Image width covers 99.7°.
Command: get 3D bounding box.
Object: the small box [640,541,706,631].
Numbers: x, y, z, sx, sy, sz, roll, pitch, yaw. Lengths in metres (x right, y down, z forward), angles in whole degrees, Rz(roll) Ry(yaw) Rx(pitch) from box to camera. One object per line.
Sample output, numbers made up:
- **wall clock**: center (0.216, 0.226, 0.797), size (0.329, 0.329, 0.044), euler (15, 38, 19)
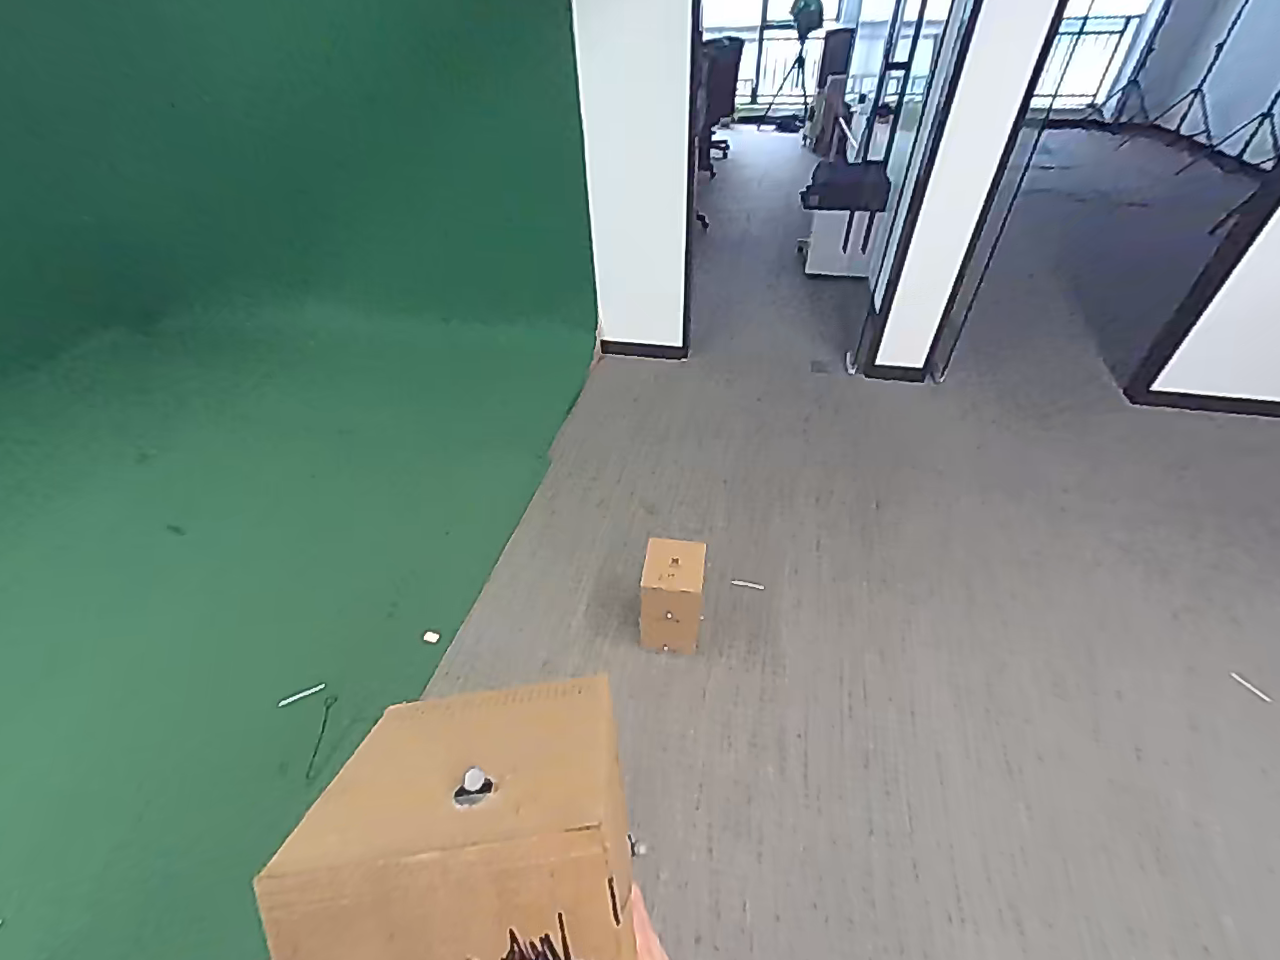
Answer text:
- **small box**: center (0.096, 0.302, 1.544), size (0.168, 0.176, 0.179), euler (5, 44, 9)
